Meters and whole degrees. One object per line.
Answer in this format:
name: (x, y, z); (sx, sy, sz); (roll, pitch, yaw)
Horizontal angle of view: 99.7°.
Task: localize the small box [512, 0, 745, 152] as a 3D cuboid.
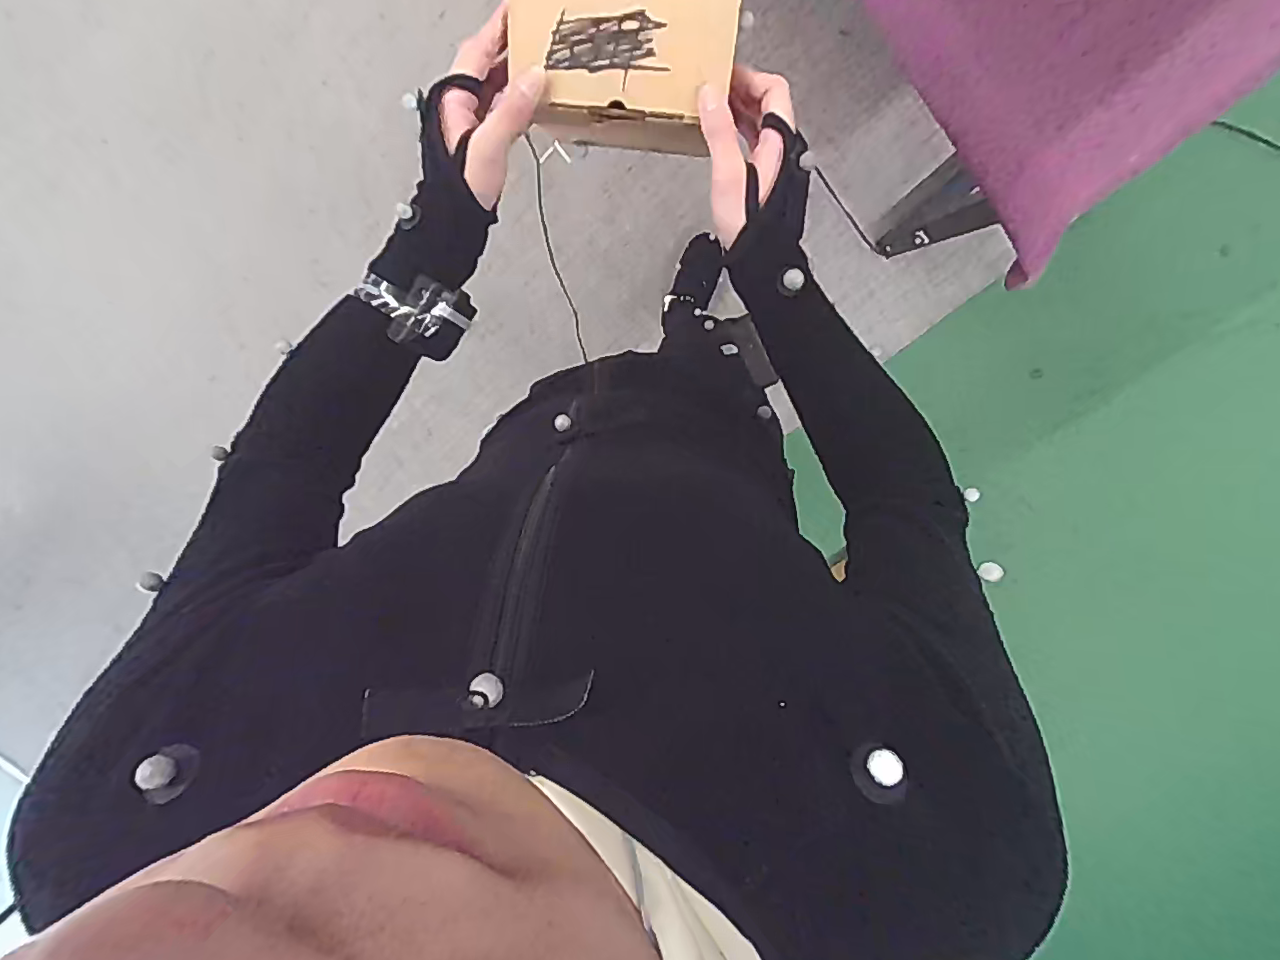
small box: (0.000, -0.384, 0.440); (0.168, 0.176, 0.179); (7, 113, 1)
